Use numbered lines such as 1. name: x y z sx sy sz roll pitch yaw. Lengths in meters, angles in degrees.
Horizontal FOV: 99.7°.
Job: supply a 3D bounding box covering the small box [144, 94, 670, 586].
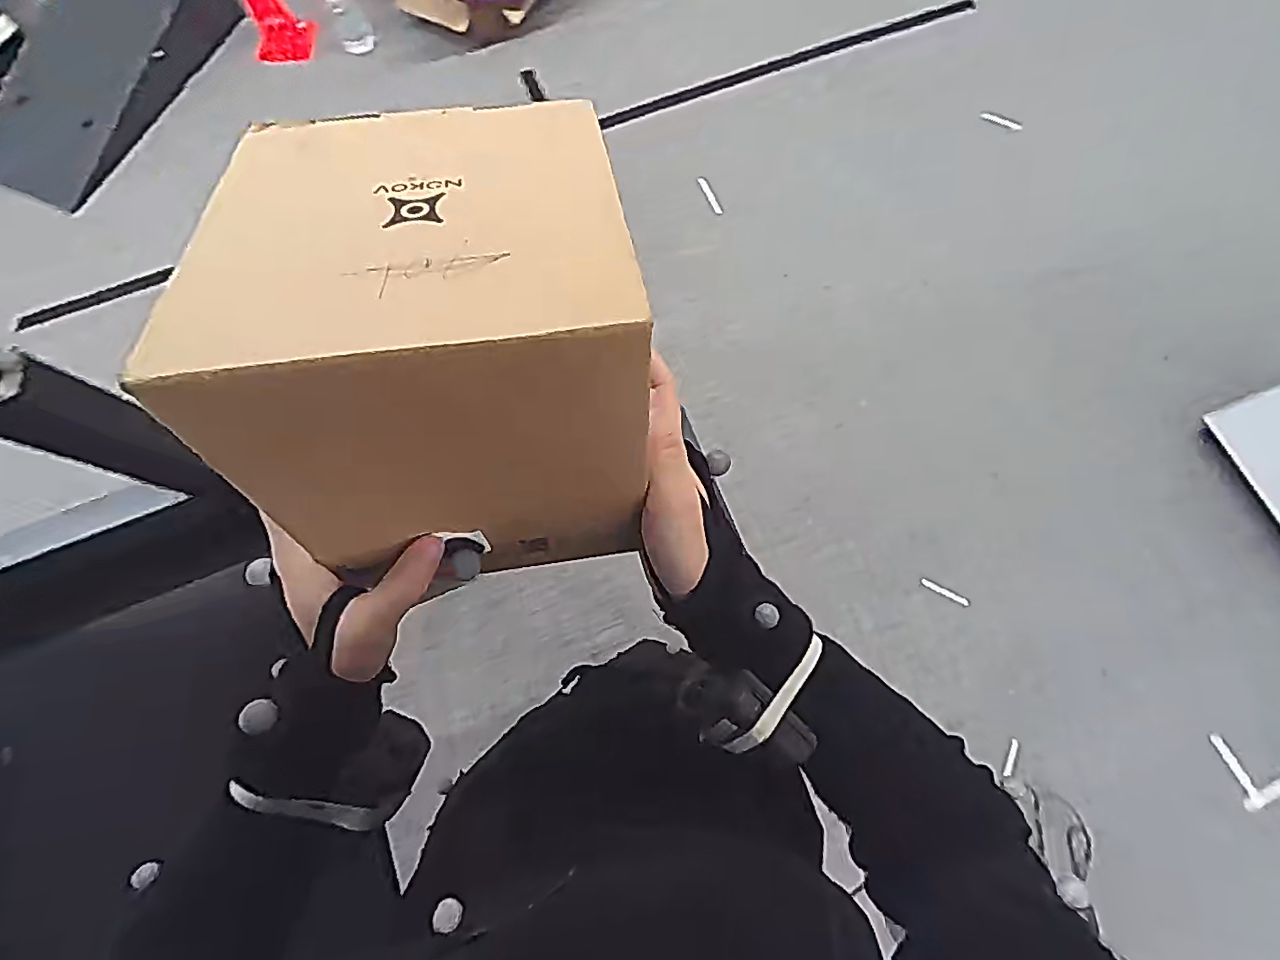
1. small box: -0.084 -0.067 0.282 0.168 0.176 0.179 -8 57 -5
